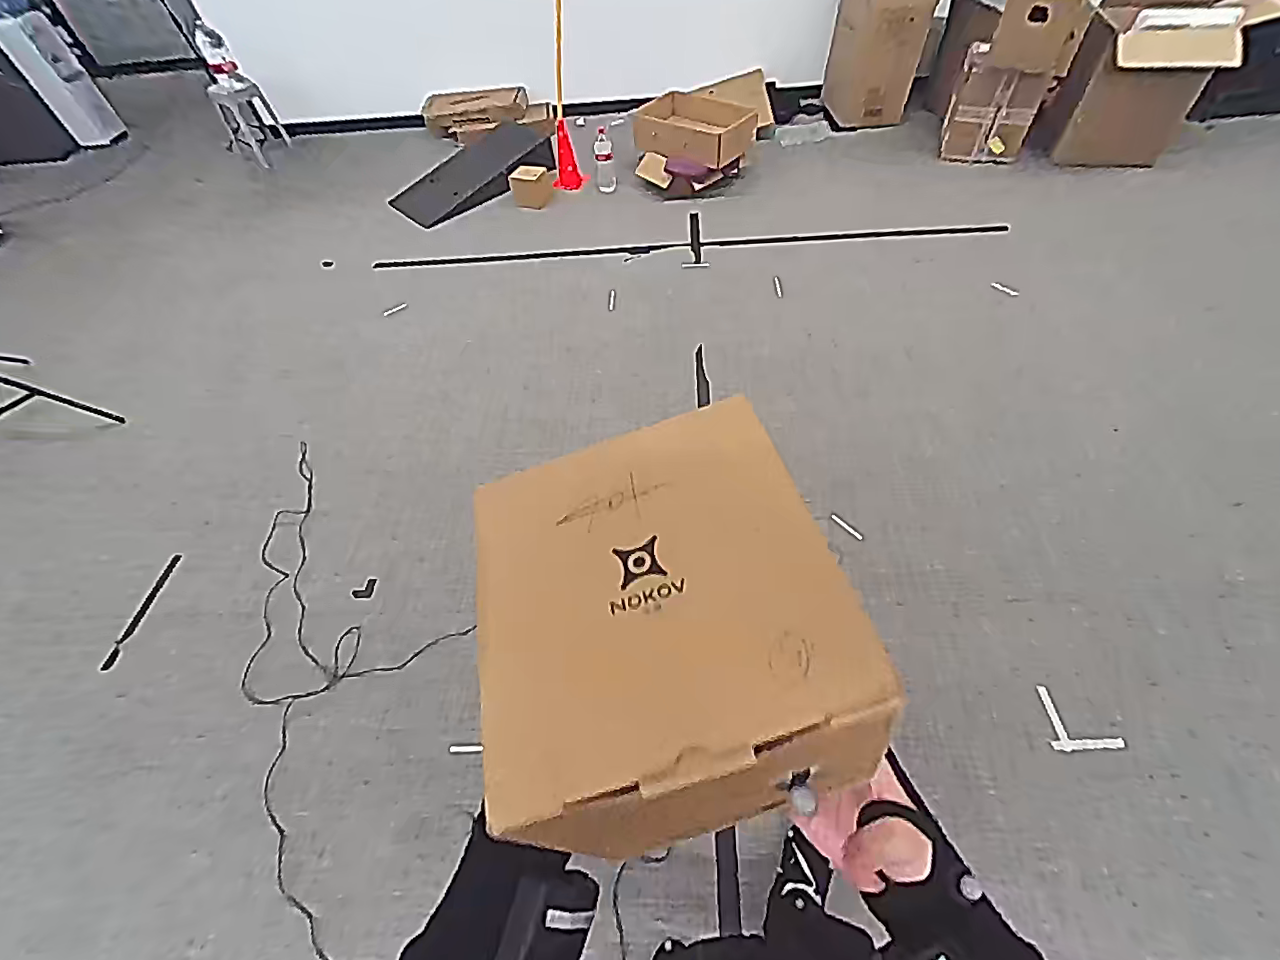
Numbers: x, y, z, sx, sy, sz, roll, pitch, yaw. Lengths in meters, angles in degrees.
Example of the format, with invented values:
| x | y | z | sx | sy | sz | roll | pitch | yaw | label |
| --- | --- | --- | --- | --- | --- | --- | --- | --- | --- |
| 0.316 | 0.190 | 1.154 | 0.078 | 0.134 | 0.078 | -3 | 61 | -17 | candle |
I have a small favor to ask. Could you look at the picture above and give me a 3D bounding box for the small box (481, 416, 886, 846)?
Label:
| x | y | z | sx | sy | sz | roll | pitch | yaw | label |
| --- | --- | --- | --- | --- | --- | --- | --- | --- | --- |
| 0.021 | 0.099 | 0.324 | 0.168 | 0.176 | 0.179 | -19 | 50 | 2 | small box |
